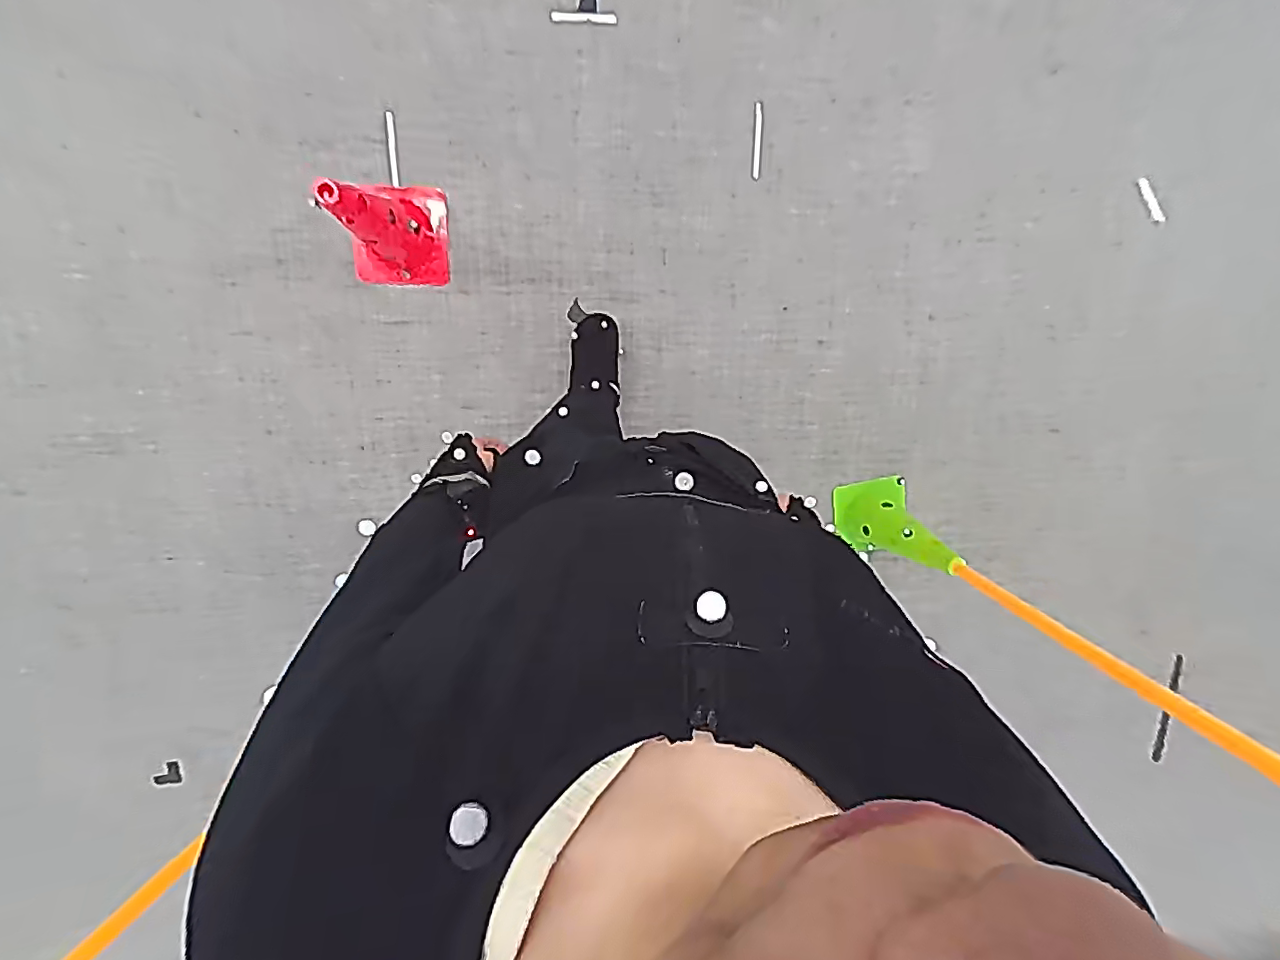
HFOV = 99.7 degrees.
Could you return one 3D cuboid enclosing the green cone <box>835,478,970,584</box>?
[{"bbox_3d":[0.640,0.147,1.285,0.200,0.368,0.202,-11,106,-3],"label":"green cone"}]
